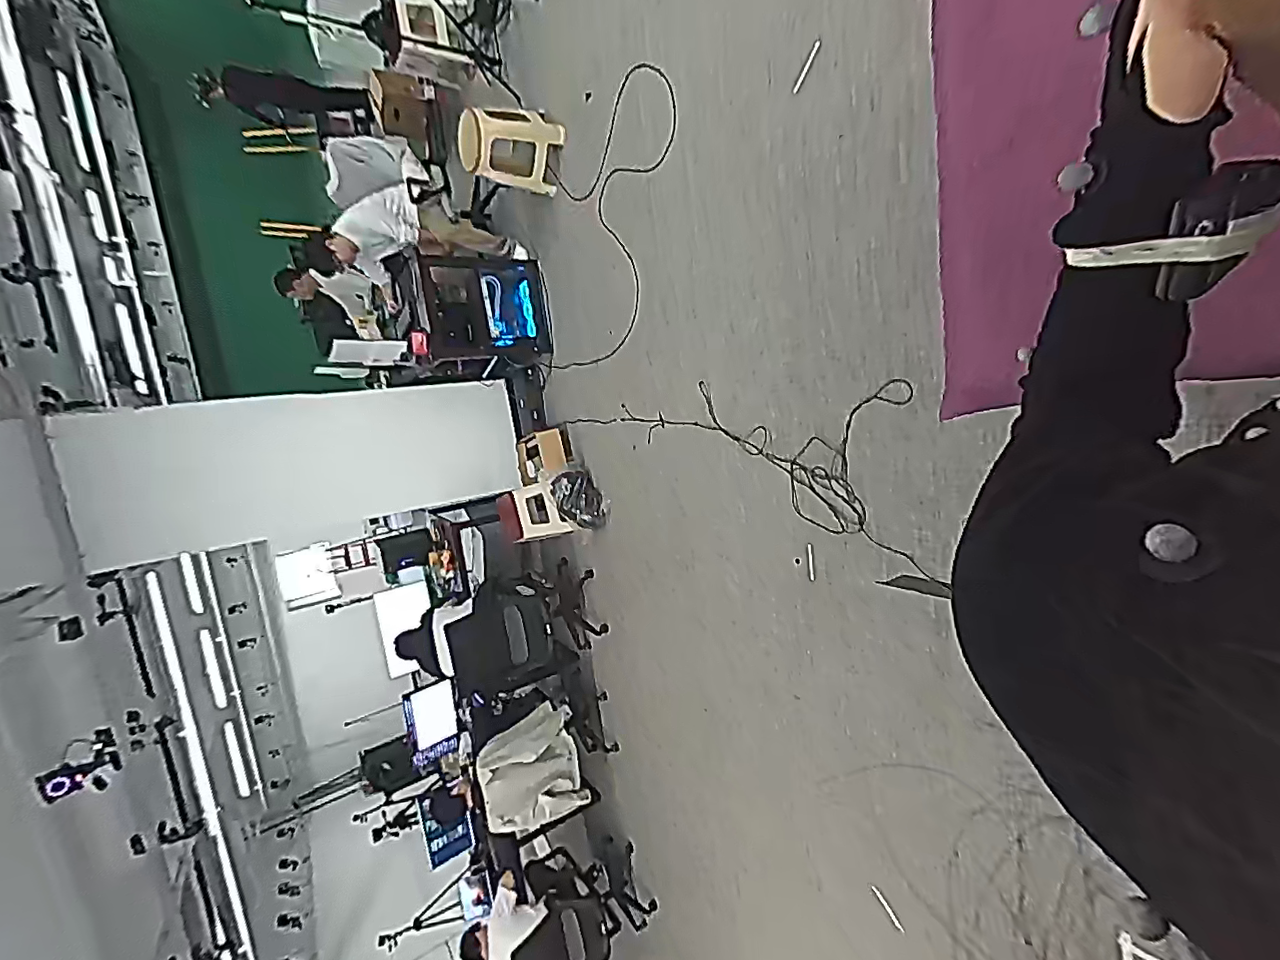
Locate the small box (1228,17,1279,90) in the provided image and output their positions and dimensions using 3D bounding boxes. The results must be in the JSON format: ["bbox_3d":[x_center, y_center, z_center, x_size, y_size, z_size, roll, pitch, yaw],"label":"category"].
[{"bbox_3d":[0.432,-0.328,0.269,0.168,0.176,0.179,4,105,57],"label":"small box"}]
